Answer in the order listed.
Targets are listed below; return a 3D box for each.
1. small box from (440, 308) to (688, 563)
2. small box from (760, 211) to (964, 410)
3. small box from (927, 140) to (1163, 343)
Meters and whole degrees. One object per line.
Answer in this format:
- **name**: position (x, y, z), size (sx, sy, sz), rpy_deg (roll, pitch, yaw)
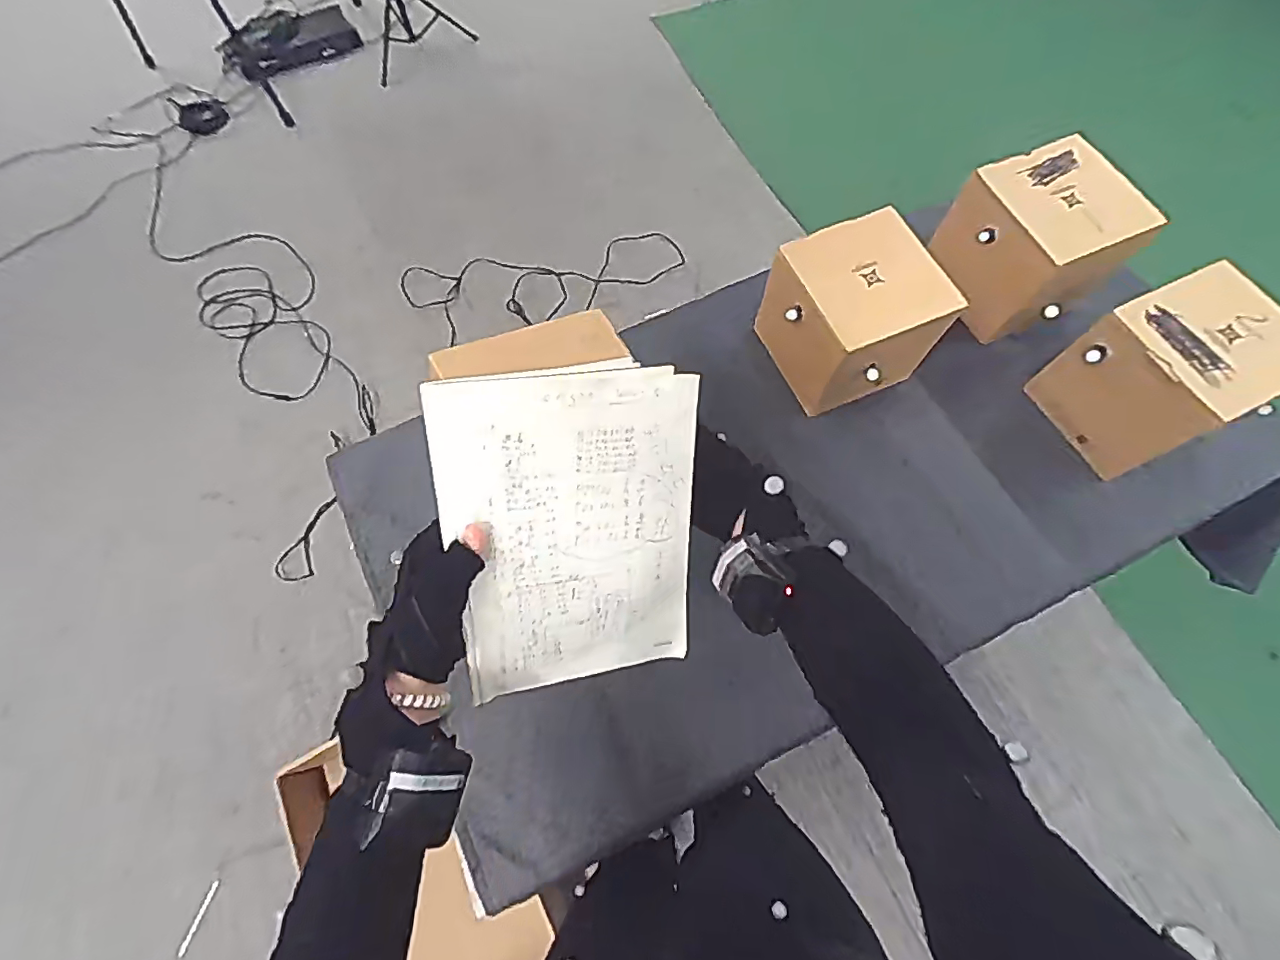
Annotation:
- **small box**: position (-0.087, -0.040, 0.547), size (0.179, 0.176, 0.168), rpy_deg (-23, 72, -27)
- **small box**: position (0.282, -0.216, 0.734), size (0.168, 0.176, 0.179), rpy_deg (-22, 69, -6)
- **small box**: position (0.547, -0.330, 0.766), size (0.168, 0.176, 0.179), rpy_deg (-22, 70, -6)
